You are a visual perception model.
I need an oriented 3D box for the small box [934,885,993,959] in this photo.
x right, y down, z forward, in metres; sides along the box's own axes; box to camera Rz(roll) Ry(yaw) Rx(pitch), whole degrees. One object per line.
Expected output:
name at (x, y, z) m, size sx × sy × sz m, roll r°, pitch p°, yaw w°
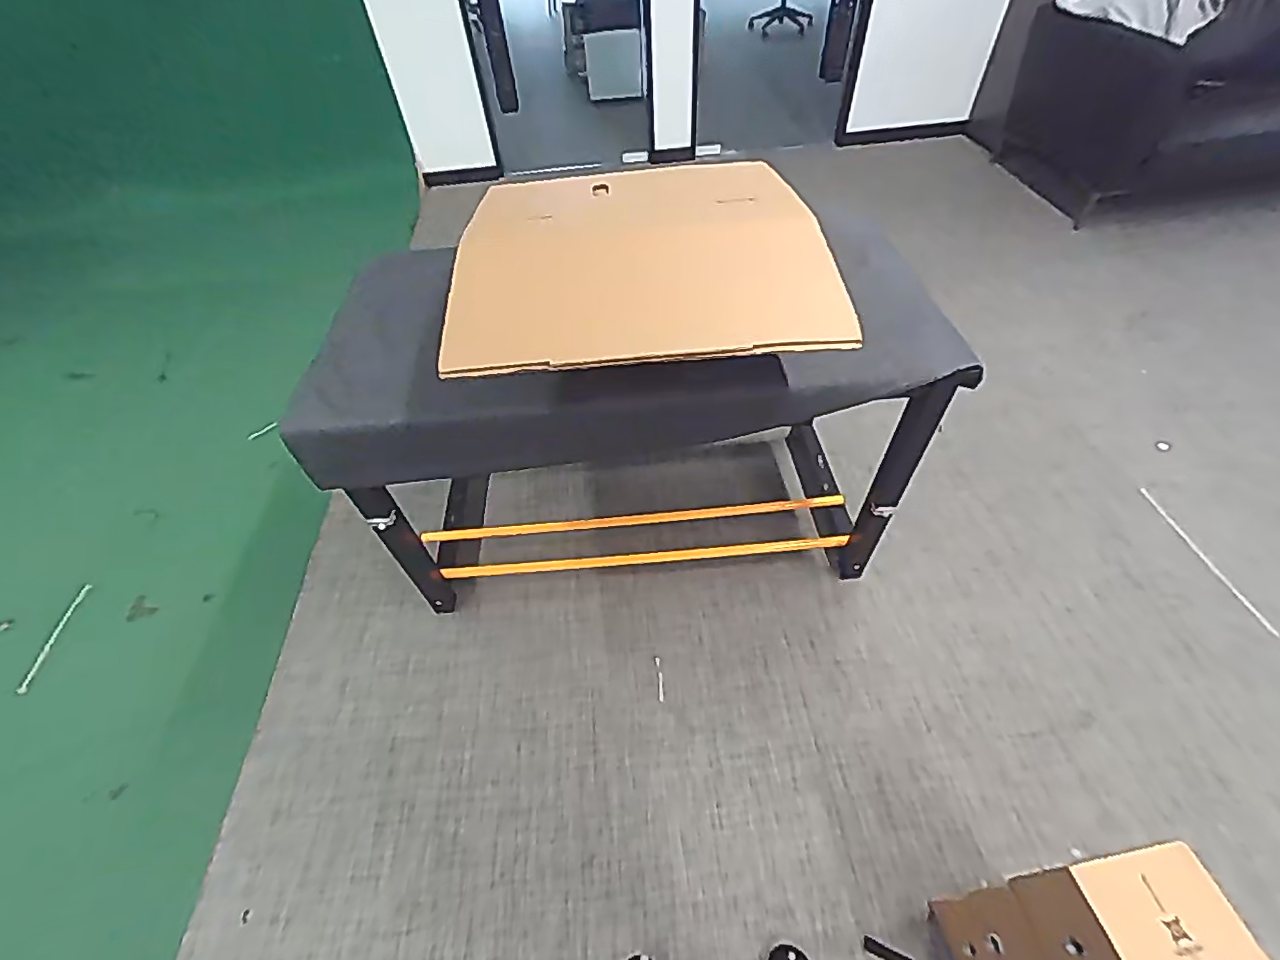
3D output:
small box at (0.651, 0.811, 0.940) m, size 0.168 × 0.176 × 0.179 m, roll -10°, pitch 50°, yaw -4°

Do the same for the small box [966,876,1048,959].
small box at (0.647, 0.697, 0.822) m, size 0.179 × 0.176 × 0.168 m, roll -11°, pitch 49°, yaw -4°

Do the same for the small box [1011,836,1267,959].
small box at (0.637, 0.589, 0.699) m, size 0.168 × 0.176 × 0.179 m, roll -9°, pitch 48°, yaw -4°
